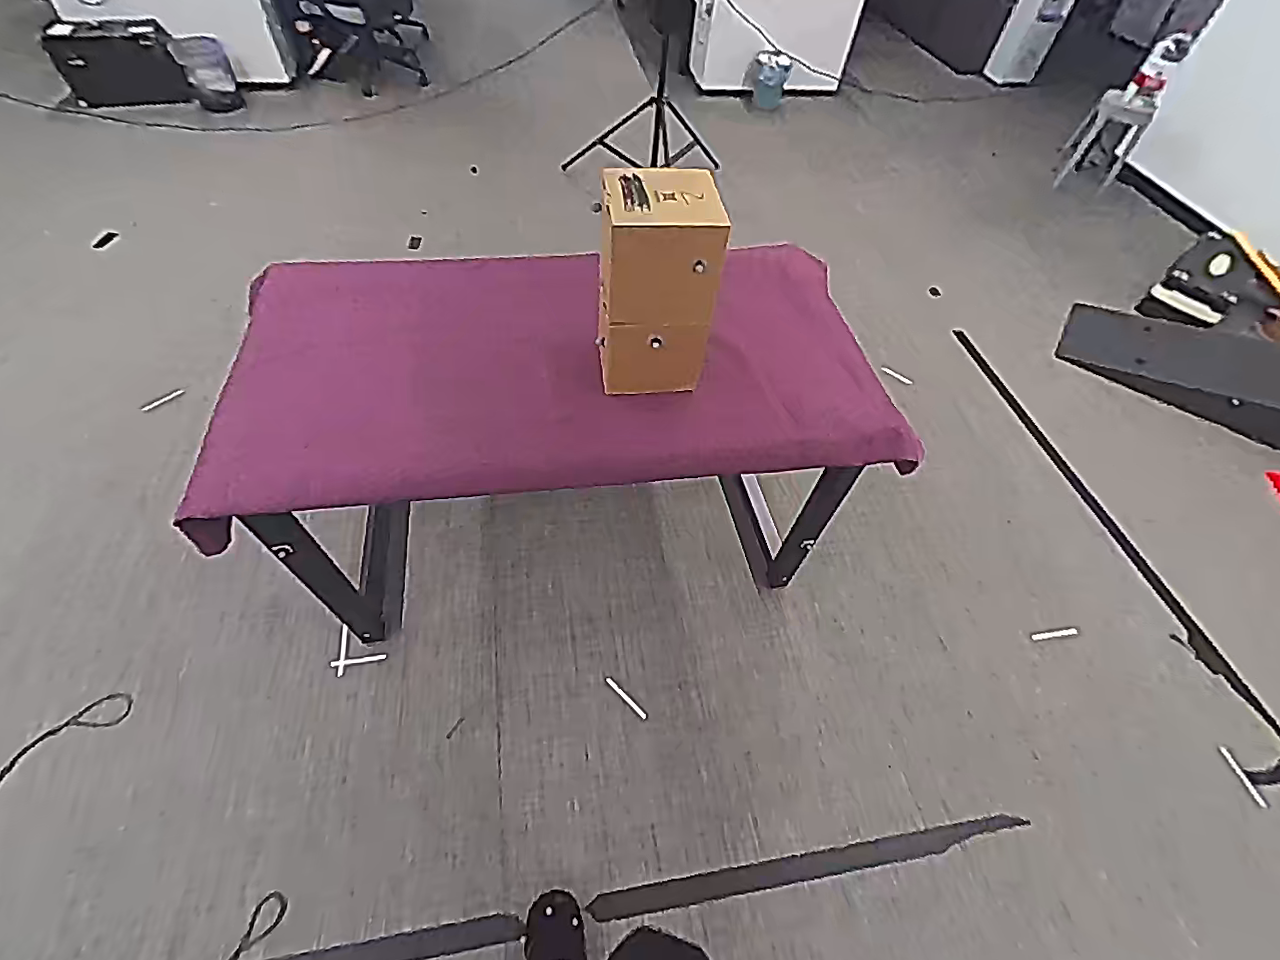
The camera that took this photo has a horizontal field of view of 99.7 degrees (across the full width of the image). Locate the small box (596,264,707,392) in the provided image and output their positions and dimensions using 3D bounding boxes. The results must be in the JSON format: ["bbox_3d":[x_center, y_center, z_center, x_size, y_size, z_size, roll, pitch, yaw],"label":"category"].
[{"bbox_3d":[0.013,-0.278,1.004,0.179,0.176,0.168,-4,55,-8],"label":"small box"}]
